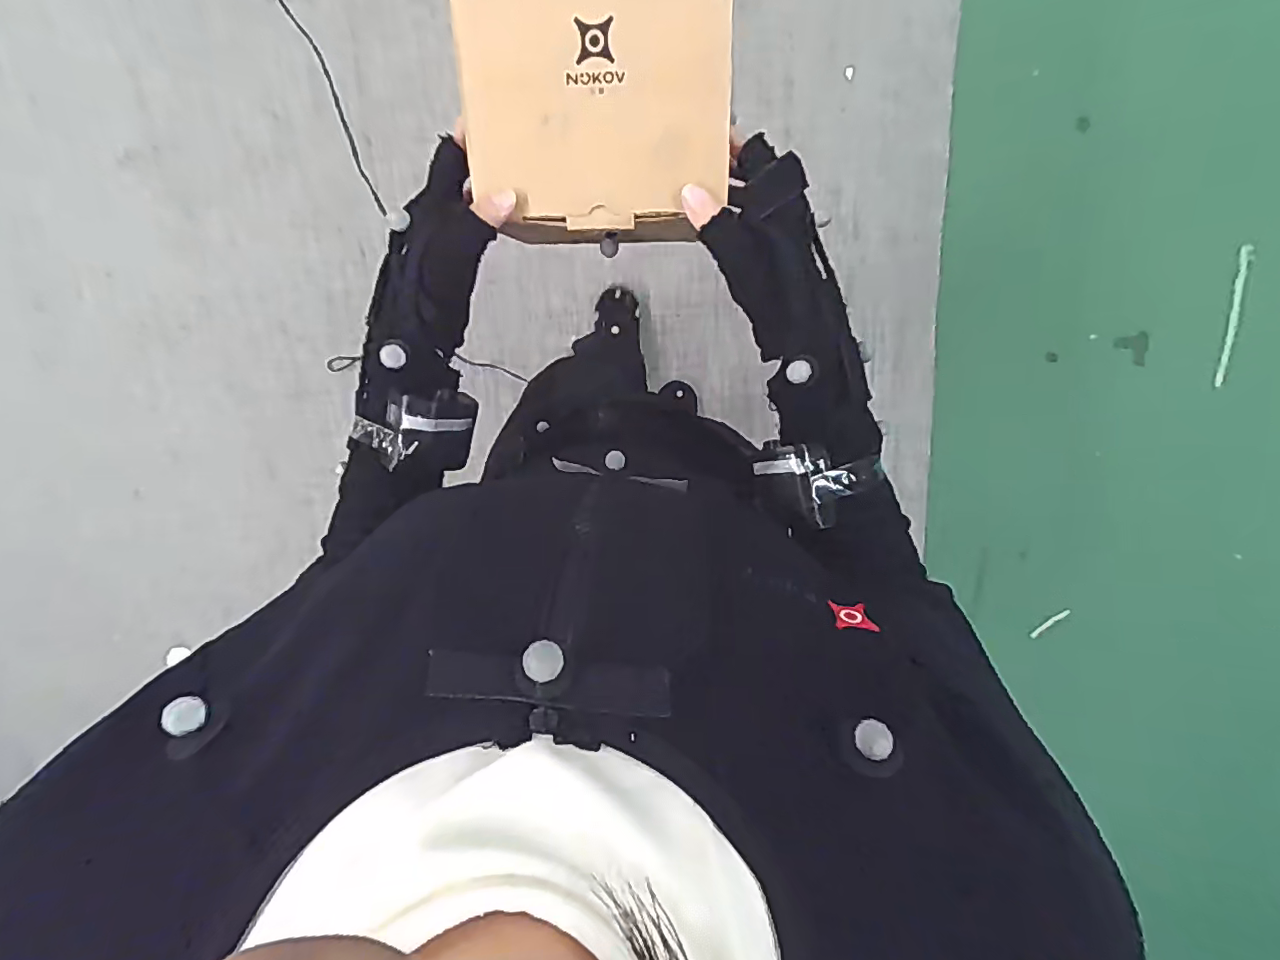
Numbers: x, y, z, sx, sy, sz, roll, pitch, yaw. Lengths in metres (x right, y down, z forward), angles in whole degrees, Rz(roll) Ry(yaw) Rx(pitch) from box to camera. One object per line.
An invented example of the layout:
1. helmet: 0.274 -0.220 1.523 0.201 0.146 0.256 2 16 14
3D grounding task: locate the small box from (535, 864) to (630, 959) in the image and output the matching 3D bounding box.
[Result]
1. small box: -0.117 0.956 1.145 0.179 0.176 0.168 3 103 1

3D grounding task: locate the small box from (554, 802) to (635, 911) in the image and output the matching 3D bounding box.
1. small box: -0.106 0.913 1.303 0.179 0.176 0.168 5 103 4
